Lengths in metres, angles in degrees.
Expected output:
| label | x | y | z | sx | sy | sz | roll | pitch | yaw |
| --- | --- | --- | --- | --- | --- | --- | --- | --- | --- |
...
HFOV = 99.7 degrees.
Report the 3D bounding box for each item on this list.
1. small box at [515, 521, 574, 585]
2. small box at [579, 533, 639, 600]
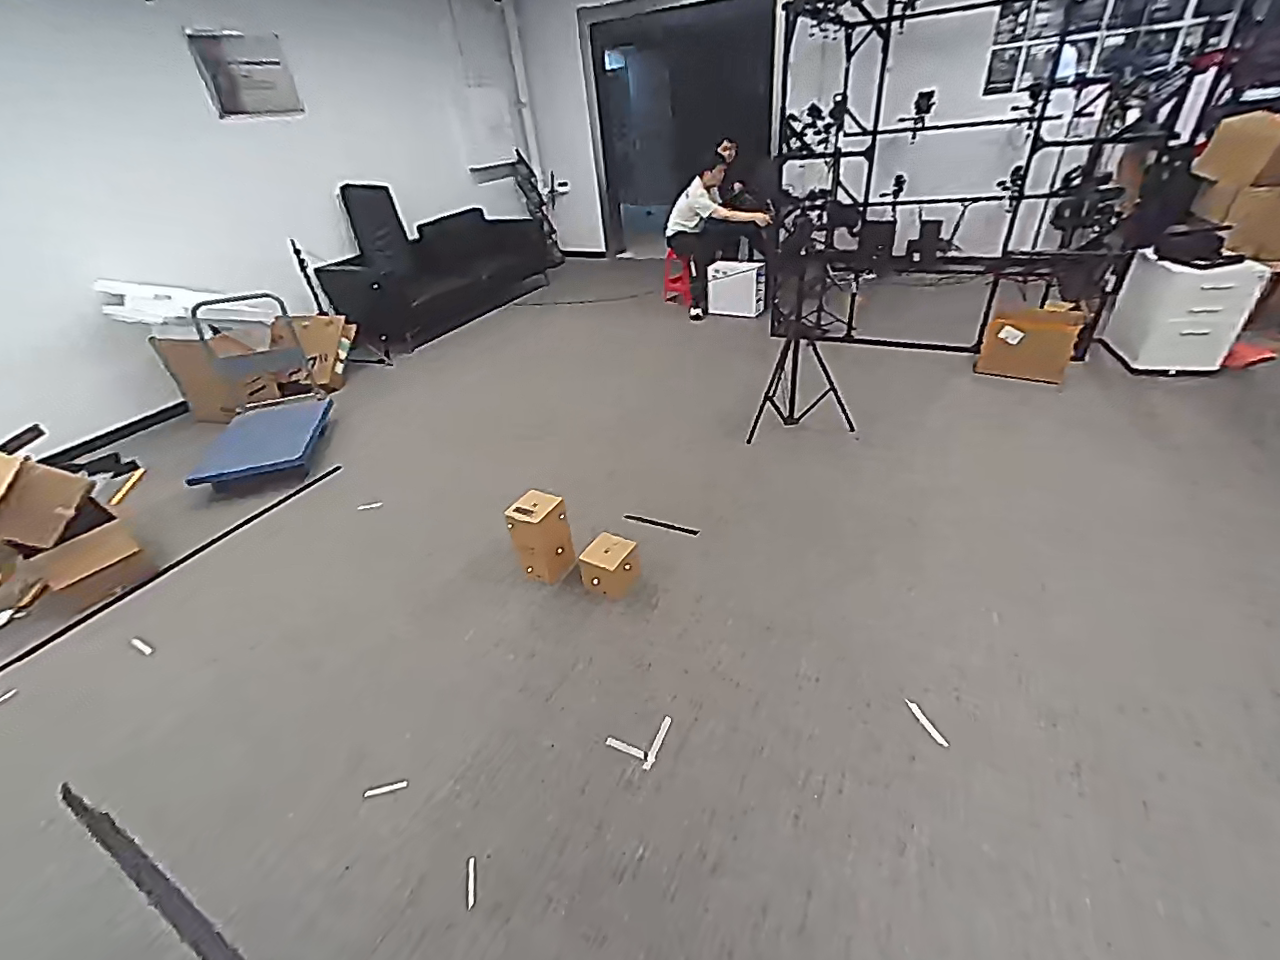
| label | x | y | z | sx | sy | sz | roll | pitch | yaw |
| --- | --- | --- | --- | --- | --- | --- | --- | --- | --- |
| small box | -0.388 | 0.303 | 2.249 | 0.168 | 0.176 | 0.179 | 14 | 39 | 28 |
| small box | -0.114 | 0.343 | 2.136 | 0.168 | 0.176 | 0.179 | 15 | 39 | 28 |
